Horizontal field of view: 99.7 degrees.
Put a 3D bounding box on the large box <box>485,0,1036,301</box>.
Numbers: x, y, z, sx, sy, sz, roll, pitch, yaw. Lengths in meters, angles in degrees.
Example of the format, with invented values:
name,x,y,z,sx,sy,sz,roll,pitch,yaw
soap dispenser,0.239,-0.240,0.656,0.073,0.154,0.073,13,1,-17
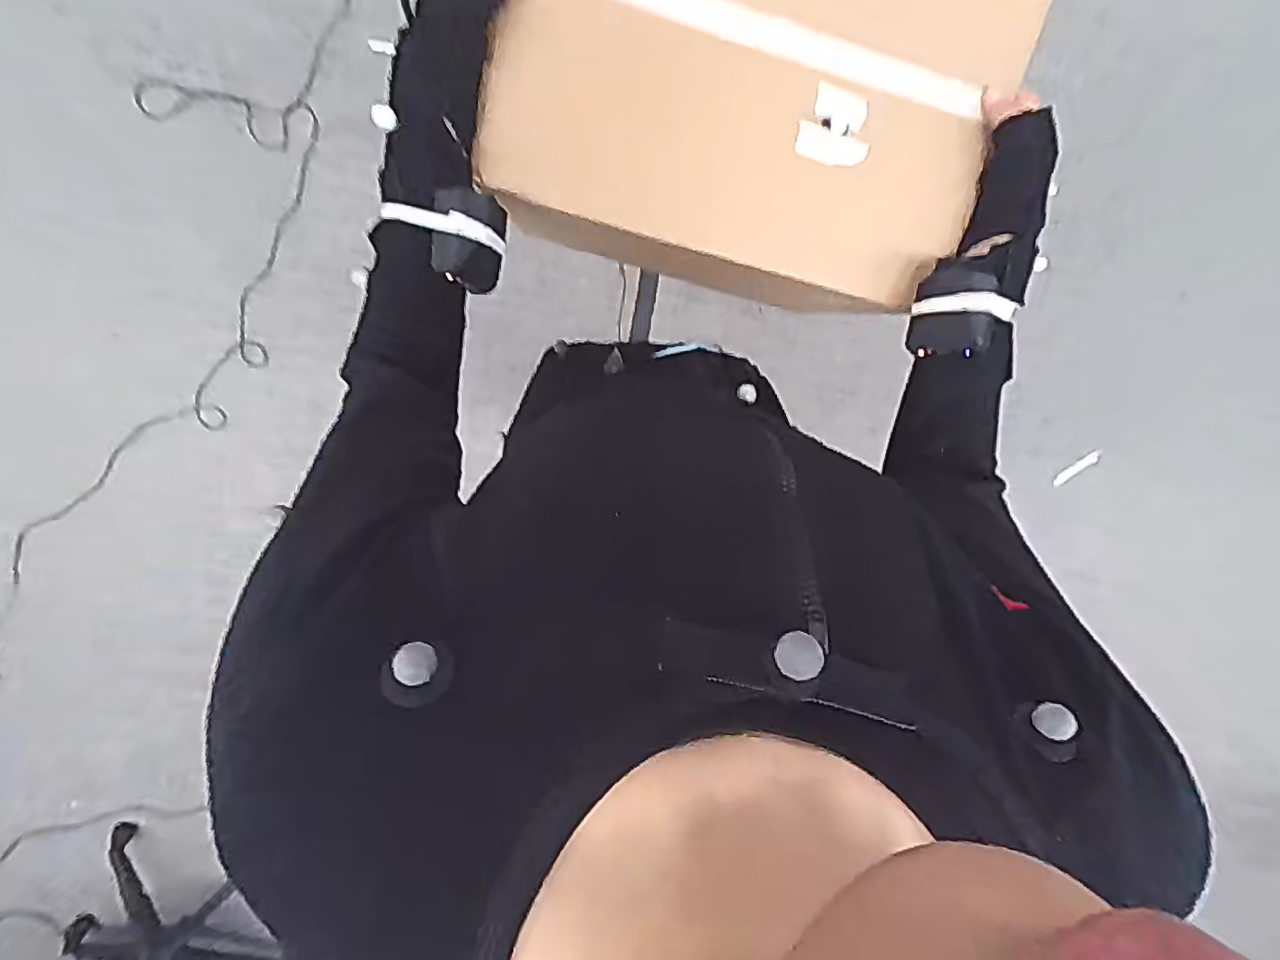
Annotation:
name,x,y,z,sx,sy,sz,roll,pitch,yaw
large box,0.085,-0.388,0.557,0.408,0.320,0.320,12,107,-10
